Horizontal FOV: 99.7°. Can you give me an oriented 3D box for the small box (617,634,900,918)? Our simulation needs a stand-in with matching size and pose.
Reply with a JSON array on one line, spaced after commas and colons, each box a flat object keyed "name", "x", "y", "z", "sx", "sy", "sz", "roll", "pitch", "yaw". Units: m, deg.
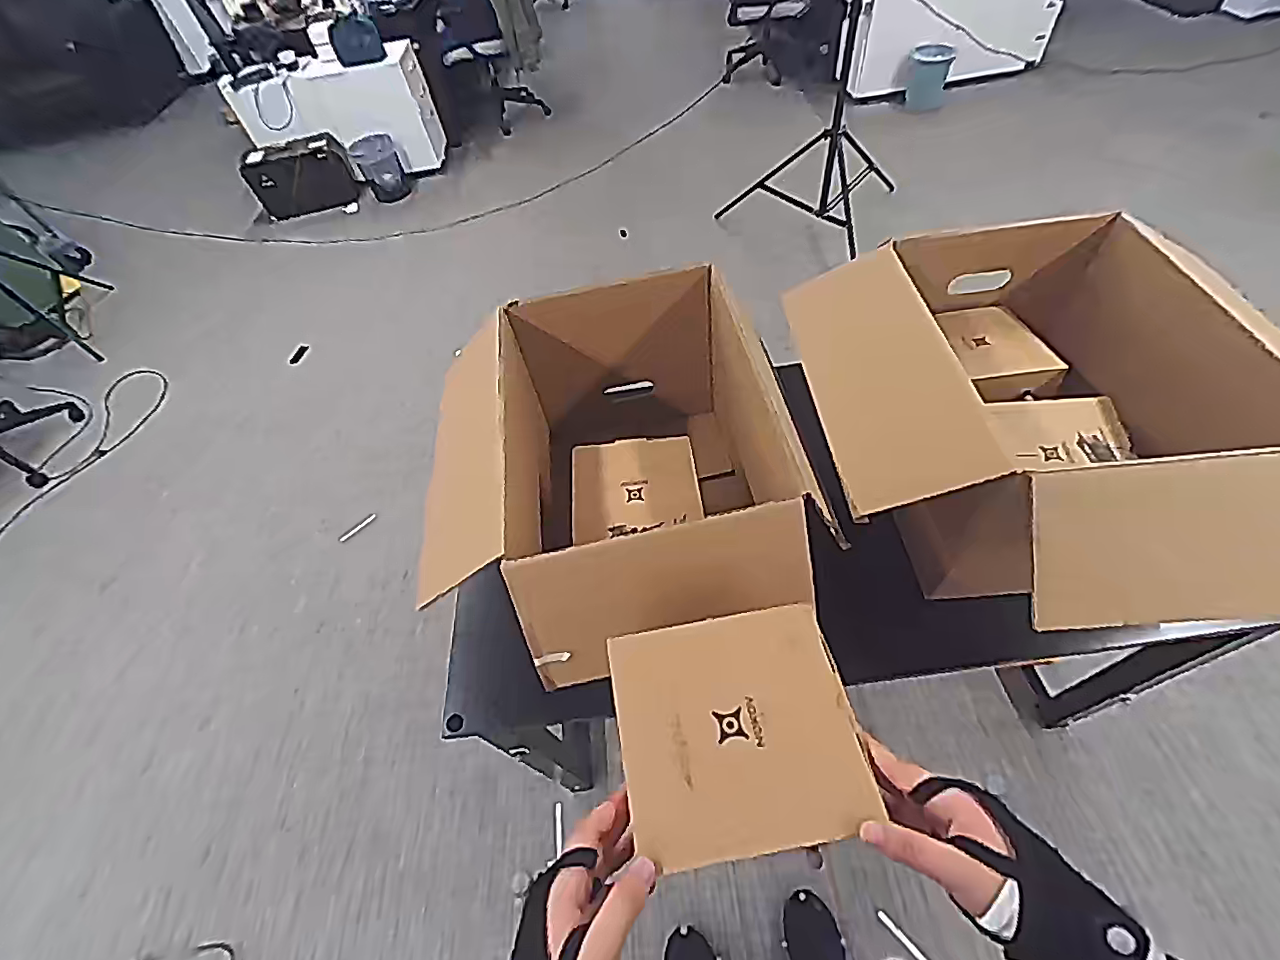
[{"name": "small box", "x": 0.084, "y": 0.255, "z": 0.469, "sx": 0.179, "sy": 0.176, "sz": 0.168, "roll": -12, "pitch": 53, "yaw": -2}]
